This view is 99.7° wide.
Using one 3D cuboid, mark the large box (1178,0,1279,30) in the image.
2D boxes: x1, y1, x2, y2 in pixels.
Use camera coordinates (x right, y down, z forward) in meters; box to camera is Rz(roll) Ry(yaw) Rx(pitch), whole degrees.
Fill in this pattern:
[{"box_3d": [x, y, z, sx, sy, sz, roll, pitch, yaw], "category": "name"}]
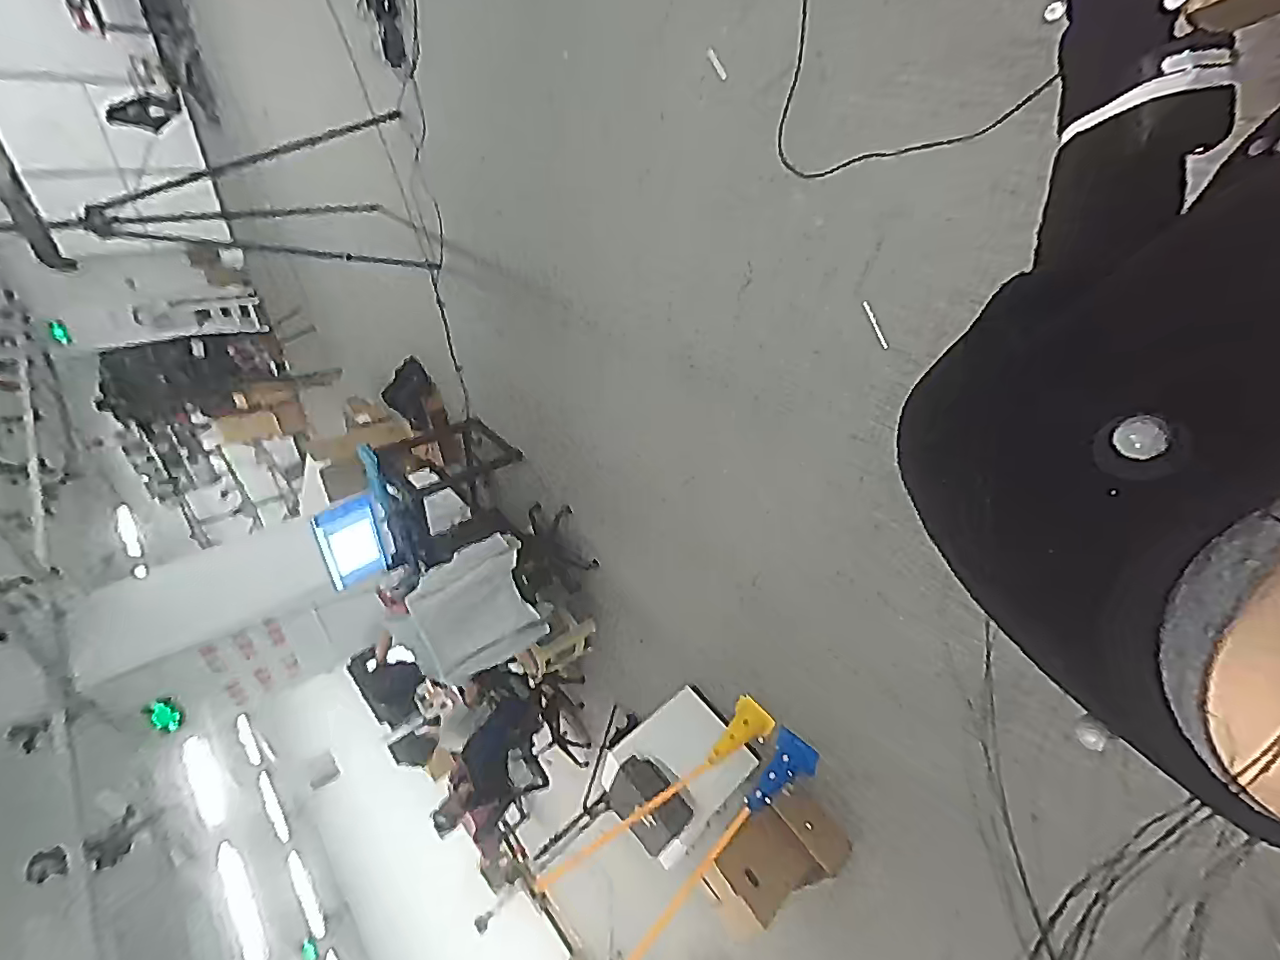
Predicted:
[{"box_3d": [0.555, -0.514, 0.262, 0.408, 0.320, 0.320, 2, 117, 49], "category": "large box"}]
